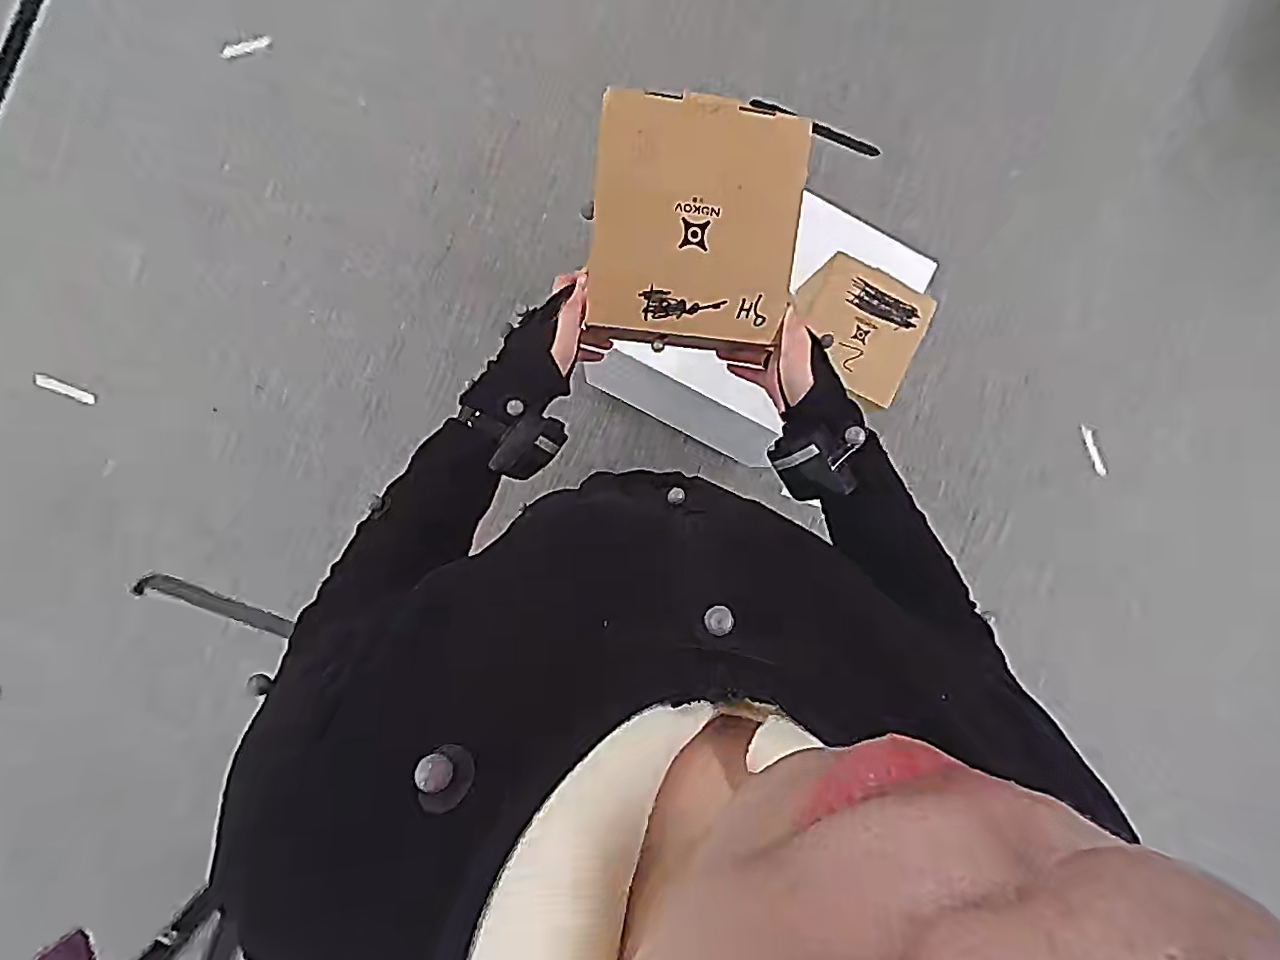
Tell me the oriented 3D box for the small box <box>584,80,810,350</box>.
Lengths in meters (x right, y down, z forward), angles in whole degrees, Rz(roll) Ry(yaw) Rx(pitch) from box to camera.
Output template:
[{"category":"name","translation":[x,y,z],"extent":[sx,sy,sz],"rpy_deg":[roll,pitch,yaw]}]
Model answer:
[{"category":"small box","translation":[0.037,-0.221,0.503],"extent":[0.168,0.176,0.179],"rpy_deg":[5,101,-6]}]
